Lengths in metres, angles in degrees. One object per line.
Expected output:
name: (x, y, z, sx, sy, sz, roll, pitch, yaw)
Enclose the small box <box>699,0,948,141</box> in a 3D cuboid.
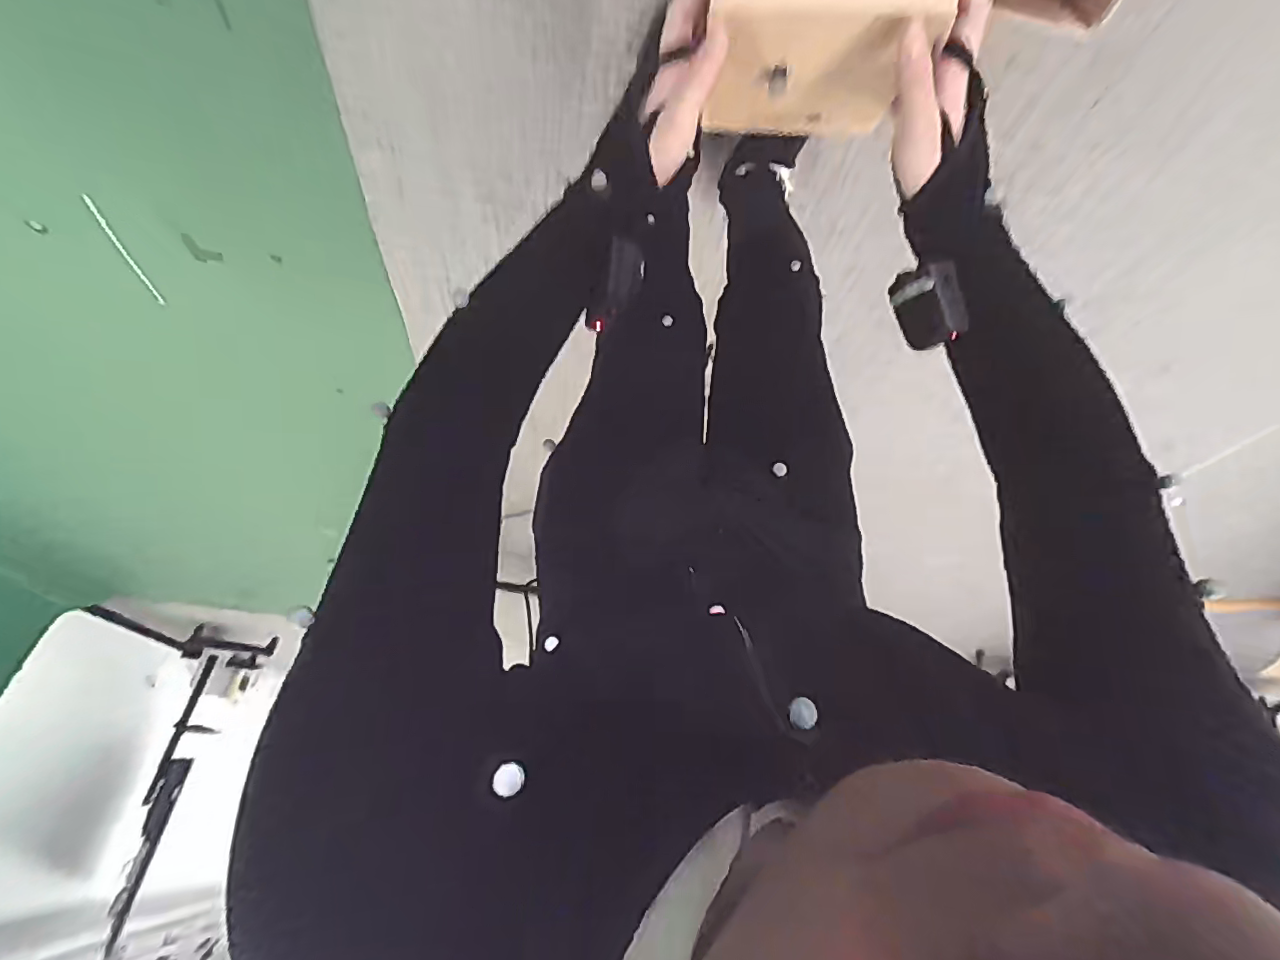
small box: (0.137, -0.403, 0.434, 0.168, 0.179, 0.176, 4, -174, 5)
